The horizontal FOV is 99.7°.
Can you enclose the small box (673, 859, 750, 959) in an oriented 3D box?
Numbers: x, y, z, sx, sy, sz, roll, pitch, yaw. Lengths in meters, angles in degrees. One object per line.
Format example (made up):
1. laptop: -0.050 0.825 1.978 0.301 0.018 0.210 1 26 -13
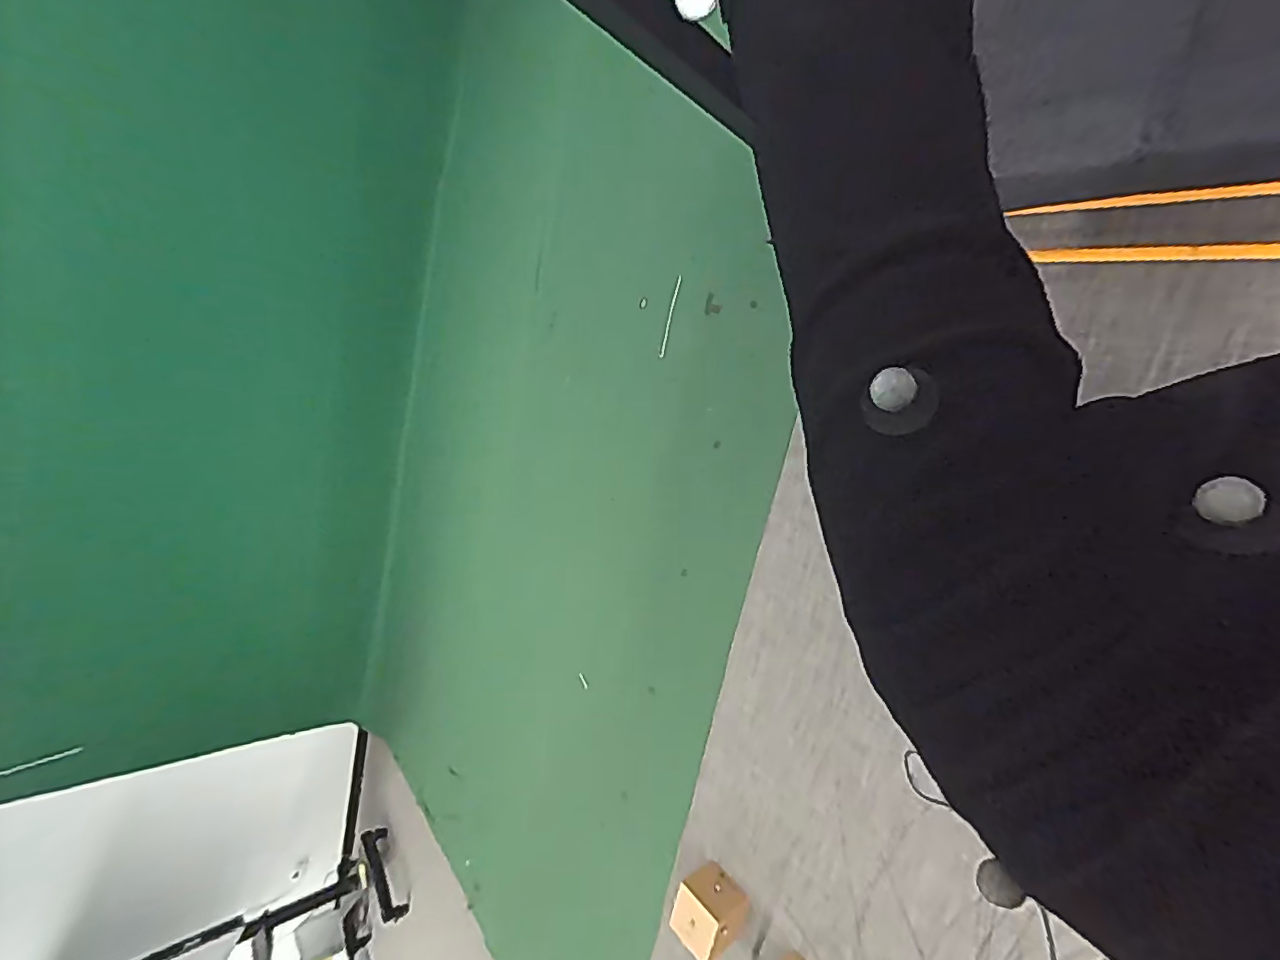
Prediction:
1. small box: 0.239 1.404 1.774 0.168 0.176 0.179 24 104 45
